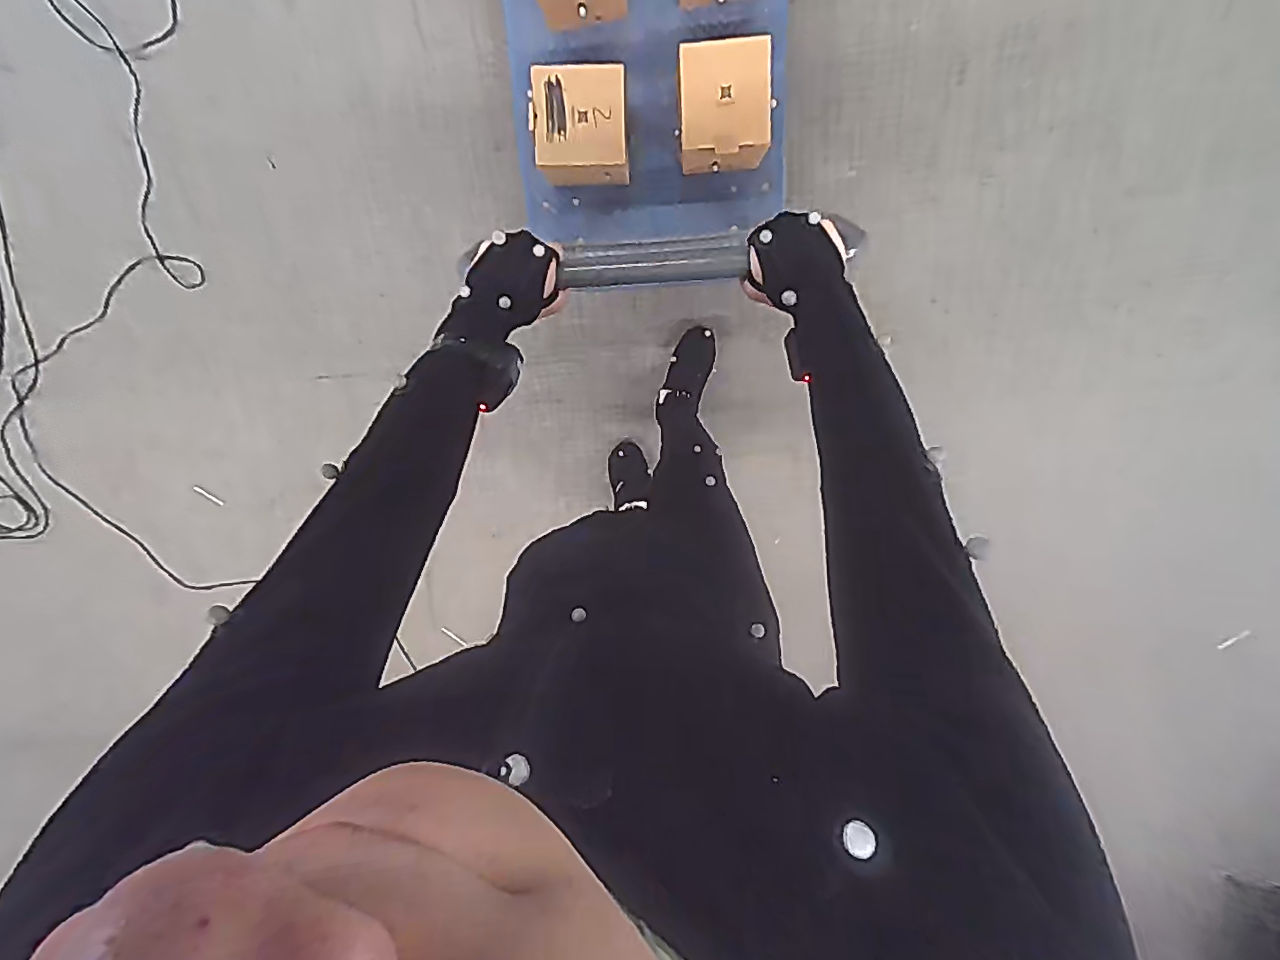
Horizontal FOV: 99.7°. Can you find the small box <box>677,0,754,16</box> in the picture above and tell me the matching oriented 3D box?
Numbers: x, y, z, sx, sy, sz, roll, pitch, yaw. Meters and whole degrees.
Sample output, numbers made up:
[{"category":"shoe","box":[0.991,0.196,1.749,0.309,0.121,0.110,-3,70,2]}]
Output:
[{"category":"small box","box":[0.142,-1.011,0.993,0.168,0.176,0.179,-8,107,5]}]

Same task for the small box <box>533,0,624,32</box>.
[{"category":"small box","box":[-0.126,-0.983,1.012,0.168,0.176,0.179,-9,107,4]}]

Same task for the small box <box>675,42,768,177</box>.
[{"category":"small box","box":[0.158,-0.728,1.080,0.168,0.176,0.179,-3,107,3]}]
